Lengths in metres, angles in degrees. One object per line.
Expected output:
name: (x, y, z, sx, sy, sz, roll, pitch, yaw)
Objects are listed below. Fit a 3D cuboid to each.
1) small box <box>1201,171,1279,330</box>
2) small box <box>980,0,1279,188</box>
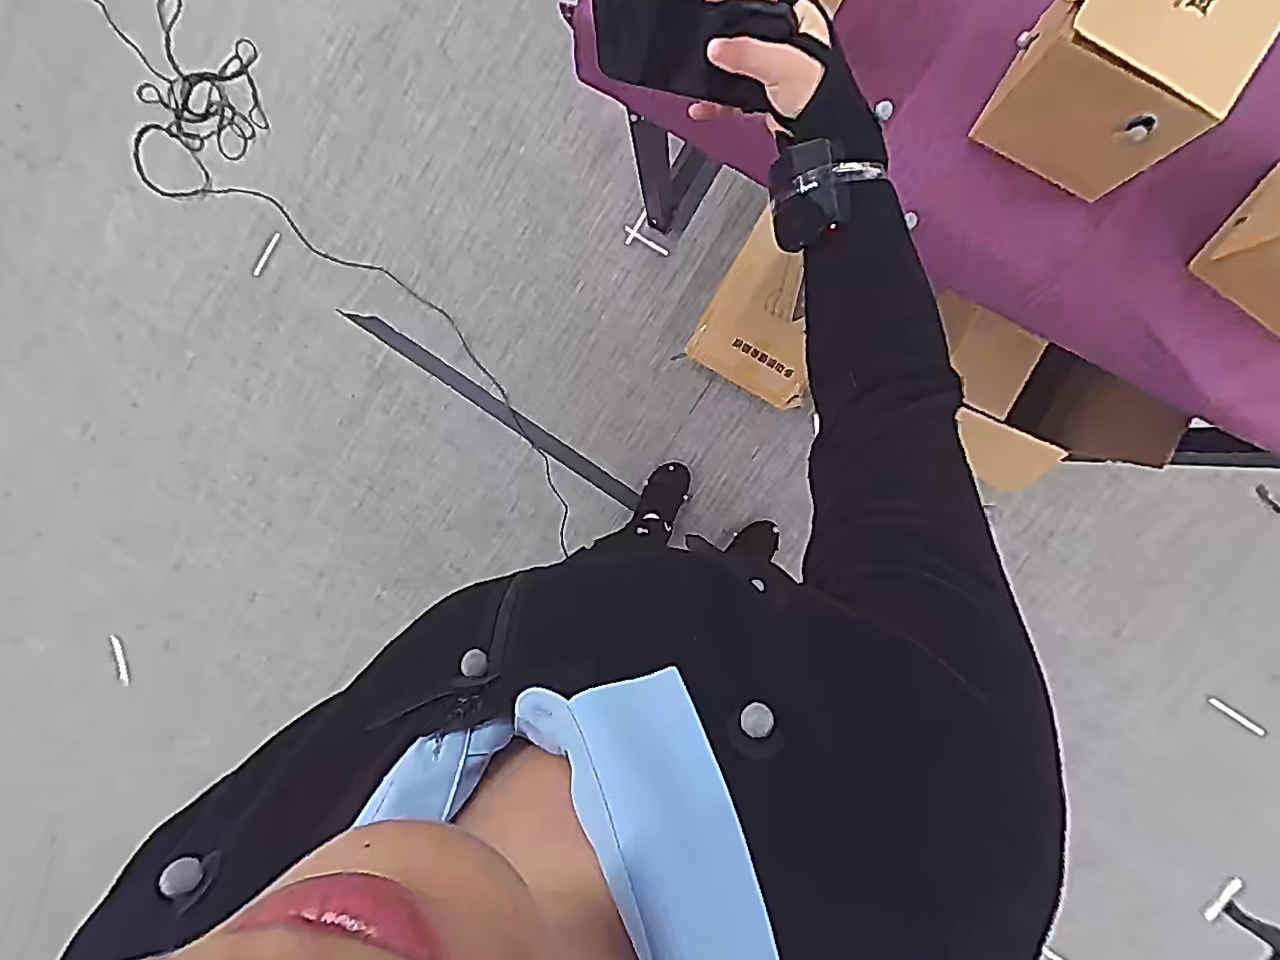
small box: (0.785, -0.270, 0.574, 0.179, 0.176, 0.168, 38, 96, 2)
small box: (0.525, -0.454, 0.584, 0.179, 0.176, 0.168, 31, 93, 3)
